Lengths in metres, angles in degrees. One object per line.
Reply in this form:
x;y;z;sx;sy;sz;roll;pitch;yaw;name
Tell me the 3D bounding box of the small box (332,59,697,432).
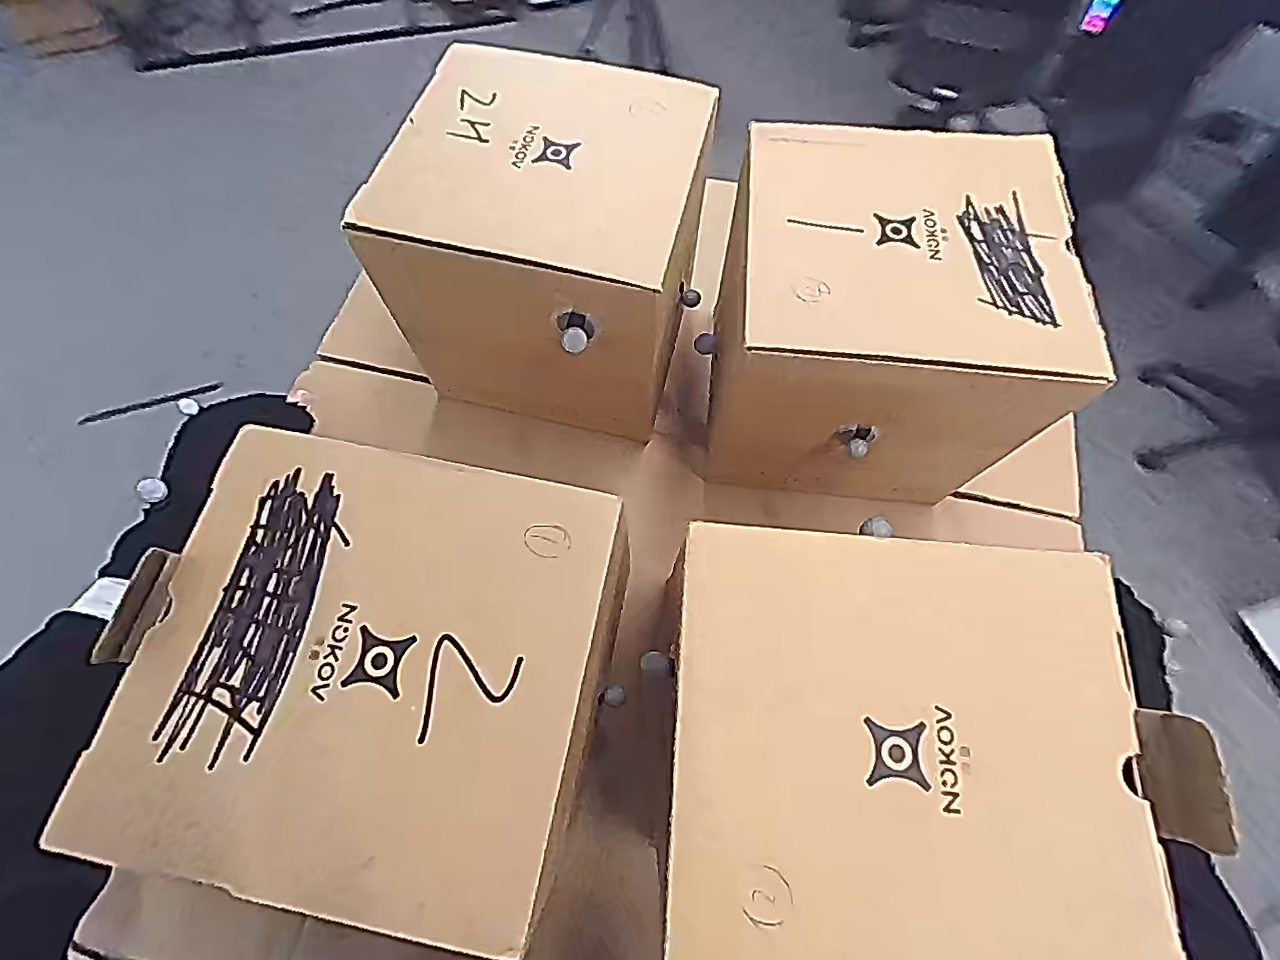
-0.068;-0.152;0.391;0.179;0.176;0.168;12;66;4;small box
